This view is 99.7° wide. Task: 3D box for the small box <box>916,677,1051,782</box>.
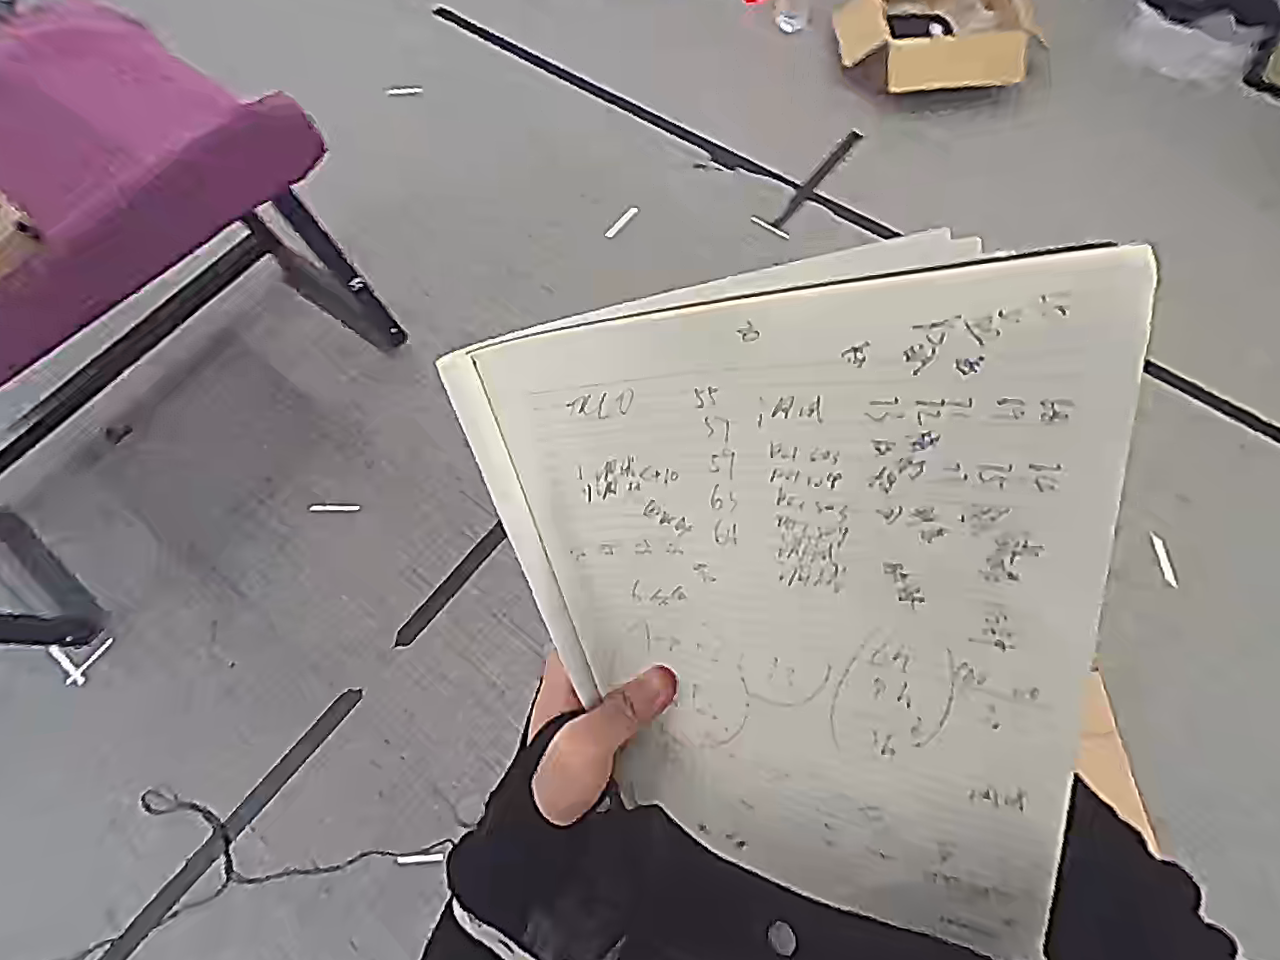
[{"bbox_3d":[0.736,0.535,1.180,0.168,0.176,0.179,-7,73,1],"label":"small box"}]
